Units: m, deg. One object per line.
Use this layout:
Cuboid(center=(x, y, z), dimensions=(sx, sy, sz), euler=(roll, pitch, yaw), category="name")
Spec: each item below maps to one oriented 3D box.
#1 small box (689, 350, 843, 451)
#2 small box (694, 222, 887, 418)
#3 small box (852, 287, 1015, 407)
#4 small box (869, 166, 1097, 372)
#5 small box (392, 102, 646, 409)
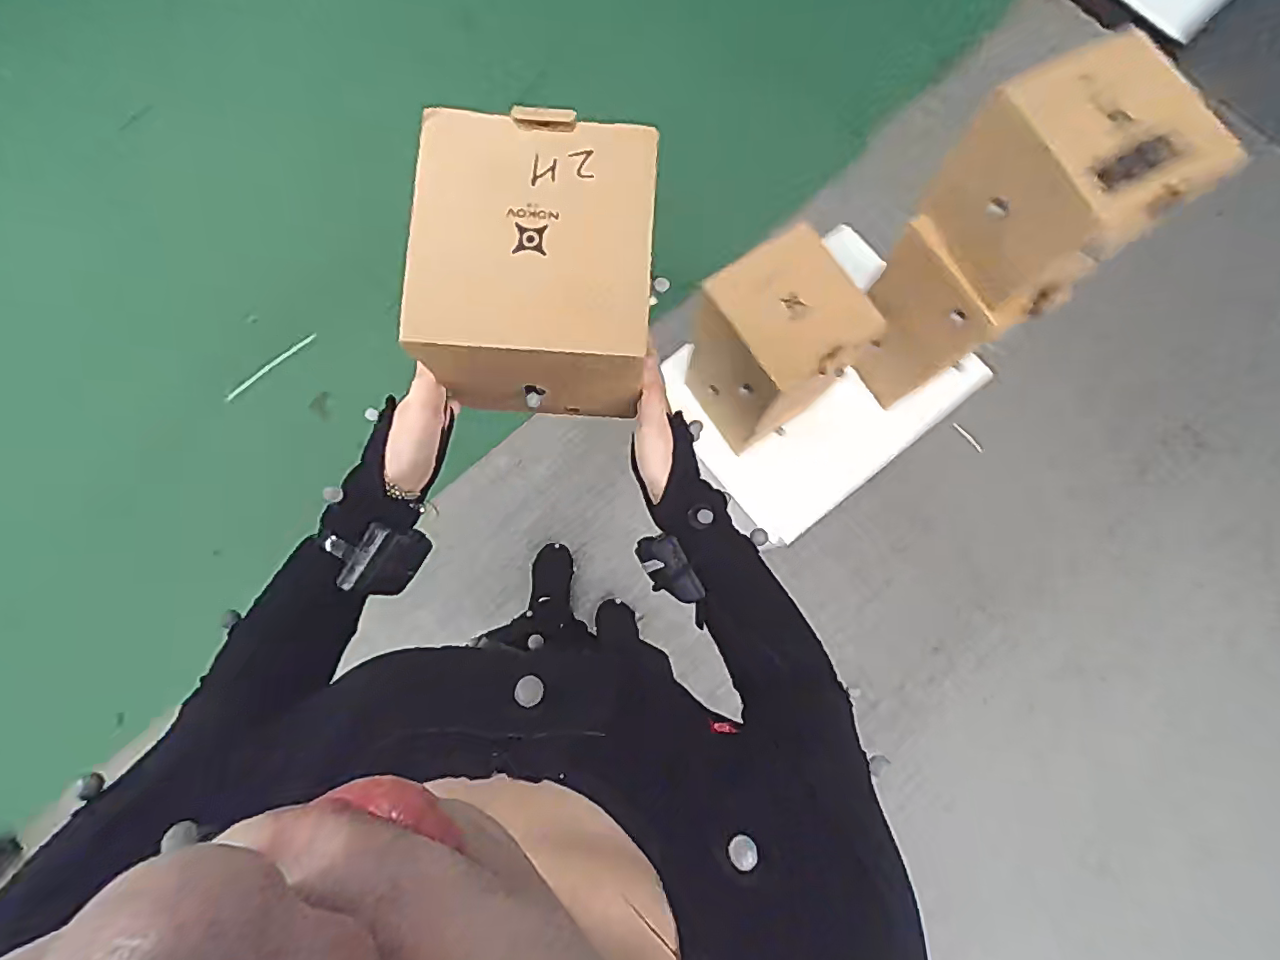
Cuboid(center=(0.197, -0.173, 0.908), dimensions=(0.168, 0.176, 0.179), euler=(-32, 82, -6), category="small box")
Cuboid(center=(0.193, -0.203, 0.749), dimensions=(0.168, 0.176, 0.179), euler=(-32, 80, -7), category="small box")
Cuboid(center=(0.469, -0.253, 0.921), dimensions=(0.168, 0.176, 0.179), euler=(-30, 80, -5), category="small box")
Cuboid(center=(0.462, -0.284, 0.762), dimensions=(0.168, 0.176, 0.179), euler=(-31, 82, -5), category="small box")
Cuboid(center=(-0.085, -0.165, 0.450), dimensions=(0.168, 0.176, 0.179), euler=(3, 82, -4), category="small box")
